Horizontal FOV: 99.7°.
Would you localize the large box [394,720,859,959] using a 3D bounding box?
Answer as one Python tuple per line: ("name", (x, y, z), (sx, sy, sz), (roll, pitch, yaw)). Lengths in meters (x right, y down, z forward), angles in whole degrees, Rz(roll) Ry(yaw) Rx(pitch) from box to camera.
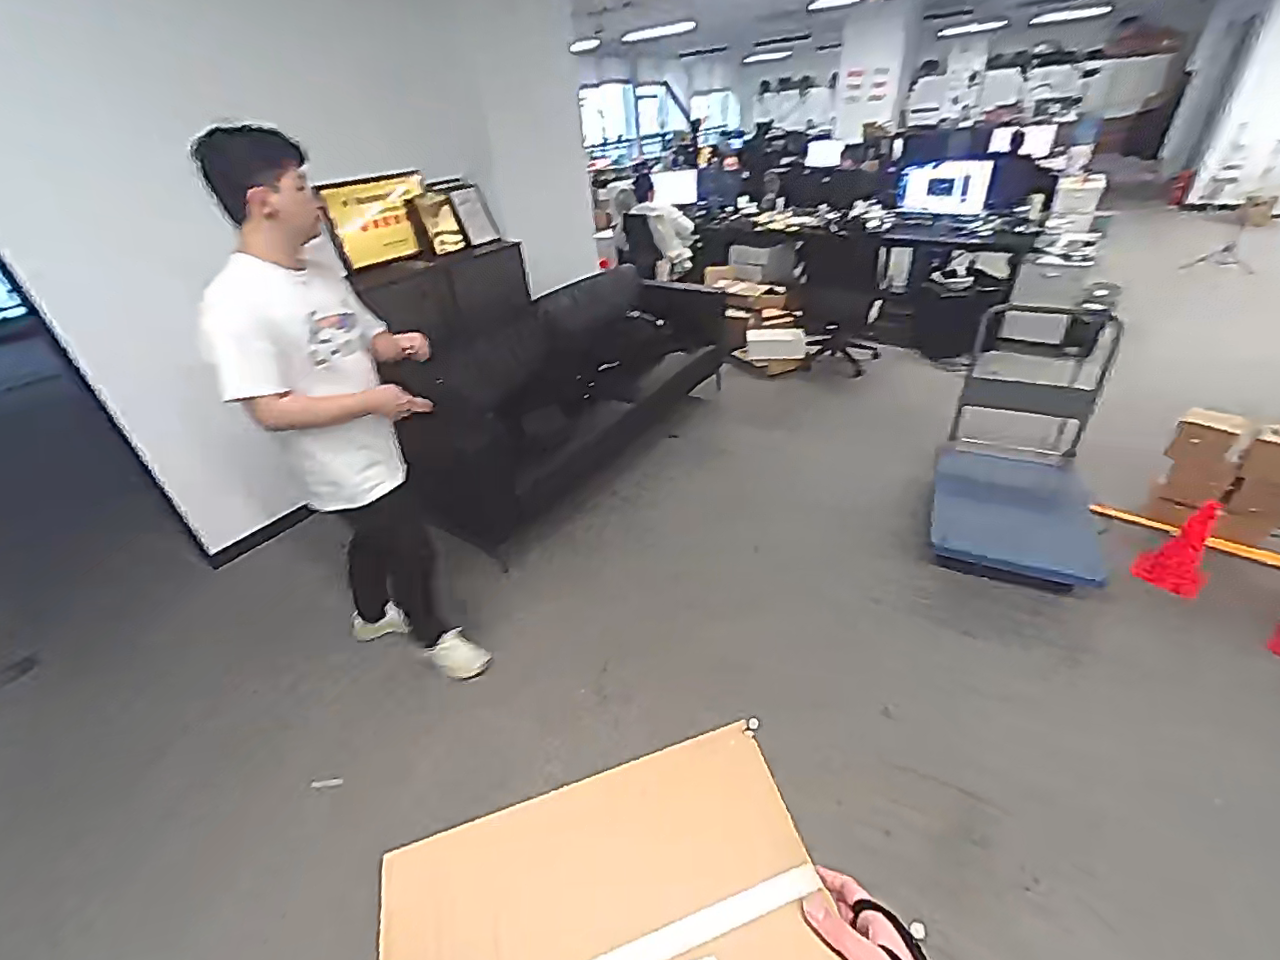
("large box", (-0.009, 0.540, 0.593), (0.408, 0.320, 0.320), (-16, 46, -12))
